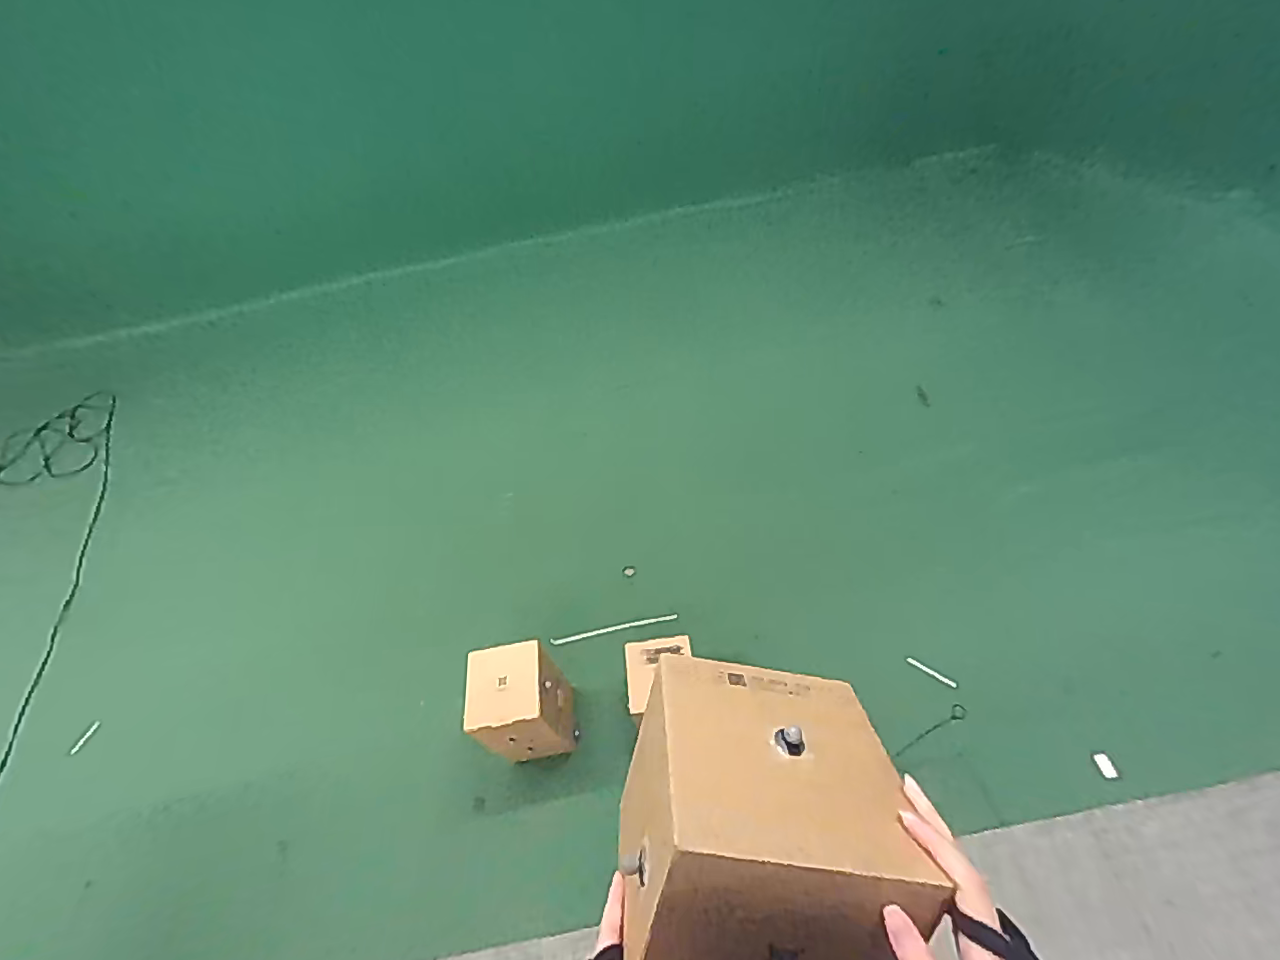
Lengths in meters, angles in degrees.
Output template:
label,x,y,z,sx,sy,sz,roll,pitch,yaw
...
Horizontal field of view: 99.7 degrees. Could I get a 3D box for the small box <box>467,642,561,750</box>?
label,x,y,z,sx,sy,sz,roll,pitch,yaw
small box,-0.285,0.501,1.251,0.168,0.176,0.179,-12,51,1

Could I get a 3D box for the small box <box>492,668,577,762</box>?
label,x,y,z,sx,sy,sz,roll,pitch,yaw
small box,-0.263,0.601,1.378,0.179,0.176,0.168,-13,50,2
